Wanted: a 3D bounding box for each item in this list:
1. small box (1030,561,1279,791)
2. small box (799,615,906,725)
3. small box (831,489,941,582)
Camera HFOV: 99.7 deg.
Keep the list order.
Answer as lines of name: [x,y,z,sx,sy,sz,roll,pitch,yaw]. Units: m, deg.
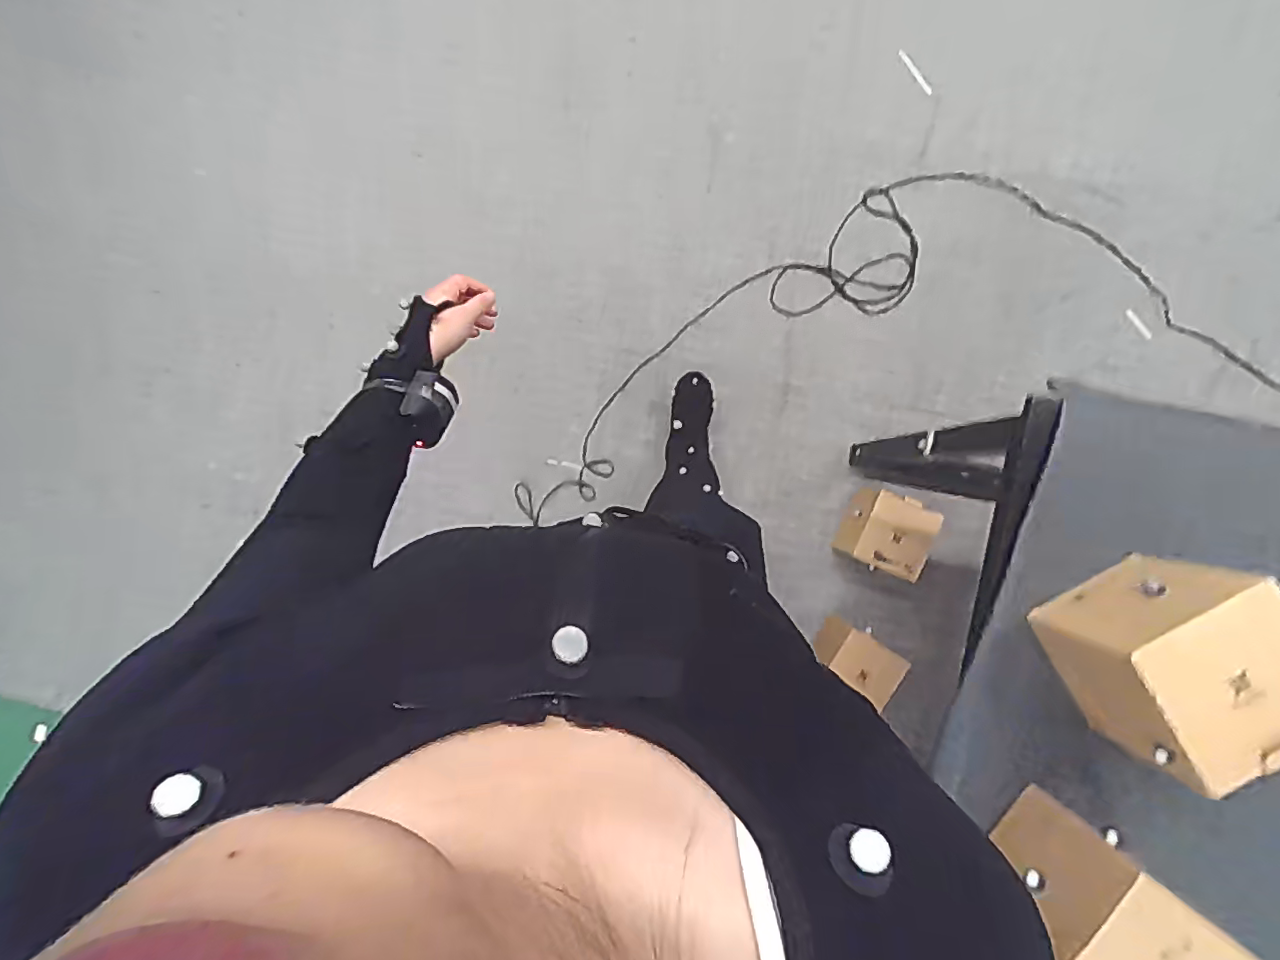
small box: [0.617,0.208,0.635,0.168,0.176,0.179,-31,89,2]
small box: [0.524,0.470,1.366,0.168,0.176,0.179,32,90,1]
small box: [0.609,0.134,1.363,0.168,0.176,0.179,24,90,2]
